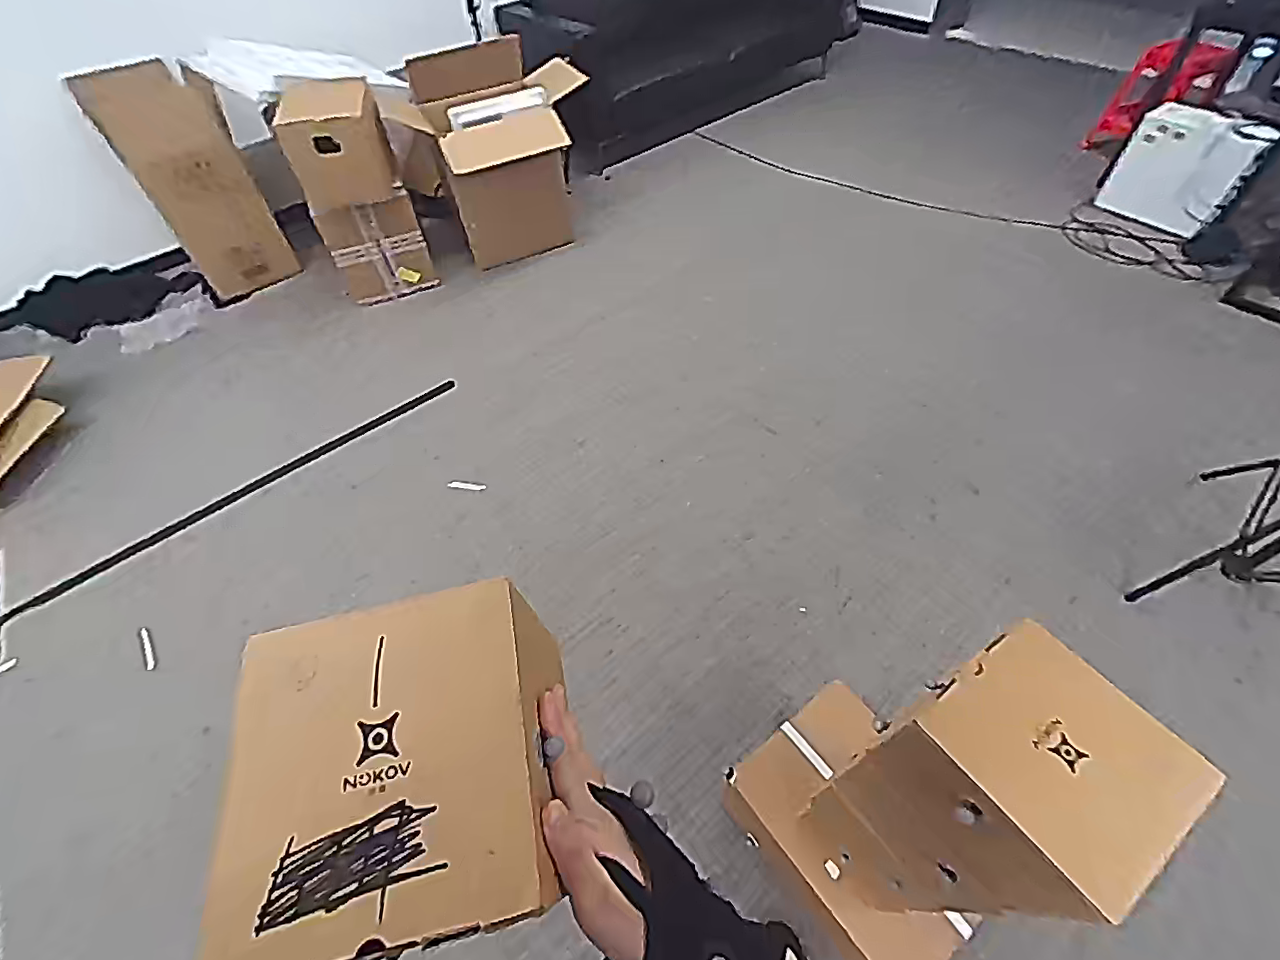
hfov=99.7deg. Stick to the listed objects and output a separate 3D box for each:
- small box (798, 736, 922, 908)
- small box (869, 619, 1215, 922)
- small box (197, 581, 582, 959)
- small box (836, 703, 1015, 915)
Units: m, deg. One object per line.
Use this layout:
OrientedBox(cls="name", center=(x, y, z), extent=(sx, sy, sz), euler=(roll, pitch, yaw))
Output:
OrientedBox(cls="small box", center=(0.393, 0.575, 0.911), extent=(0.168, 0.176, 0.179), euler=(-35, 59, -19))
OrientedBox(cls="small box", center=(0.360, 0.275, 0.524), extent=(0.168, 0.176, 0.179), euler=(-32, 57, -17))
OrientedBox(cls="small box", center=(-0.141, 0.194, 0.366), extent=(0.168, 0.176, 0.179), euler=(-13, 58, -4))
OrientedBox(cls="small box", center=(0.371, 0.373, 0.652), extent=(0.168, 0.176, 0.179), euler=(-31, 57, -18))
